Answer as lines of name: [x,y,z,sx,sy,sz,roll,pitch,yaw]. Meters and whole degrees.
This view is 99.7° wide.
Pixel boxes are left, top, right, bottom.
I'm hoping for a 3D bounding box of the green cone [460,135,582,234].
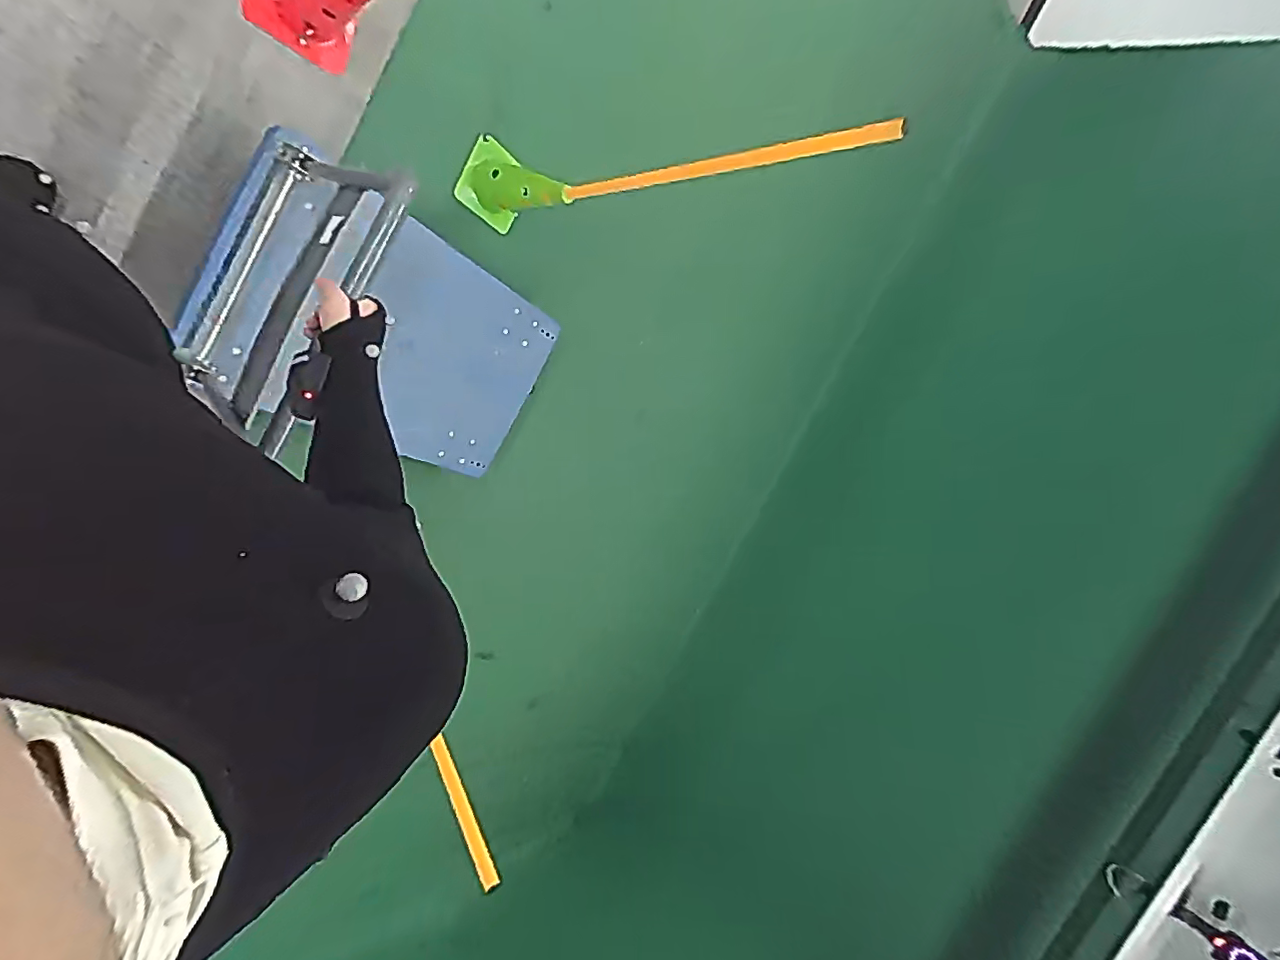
green cone: [-0.292,-0.788,1.479,0.202,0.368,0.200,22,97,-54]
